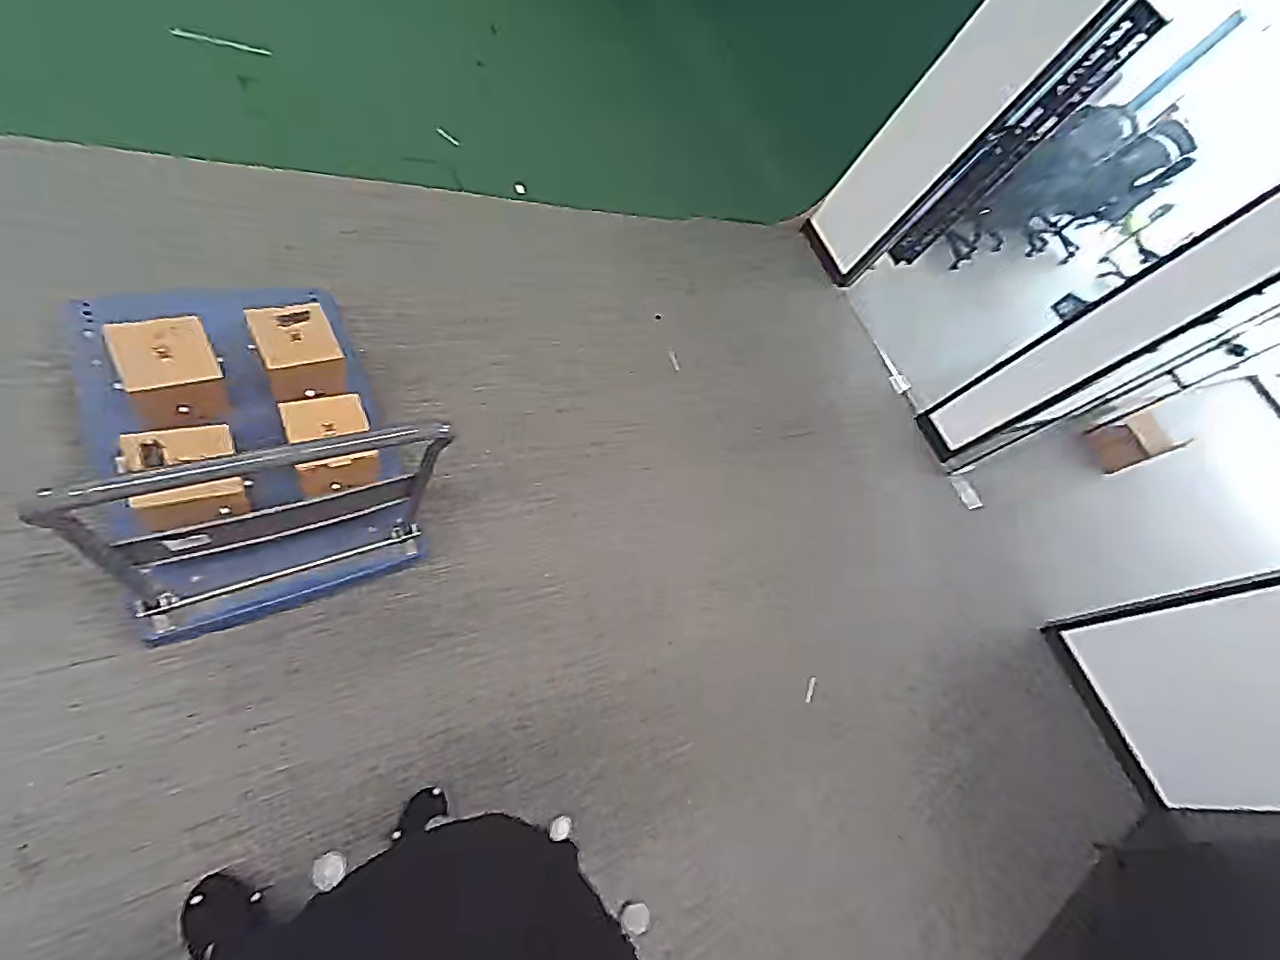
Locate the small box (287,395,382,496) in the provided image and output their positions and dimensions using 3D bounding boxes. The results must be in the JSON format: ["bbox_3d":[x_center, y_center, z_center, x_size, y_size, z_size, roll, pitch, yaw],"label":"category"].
[{"bbox_3d":[-0.751,-0.084,1.331,0.168,0.176,0.179,-16,73,-34],"label":"small box"}]

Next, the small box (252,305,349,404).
[{"bbox_3d":[-0.869,-0.320,1.392,0.168,0.176,0.179,-22,77,-34],"label":"small box"}]

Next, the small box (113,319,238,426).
[{"bbox_3d":[-1.060,-0.242,1.248,0.168,0.176,0.179,-21,76,-36],"label":"small box"}]
